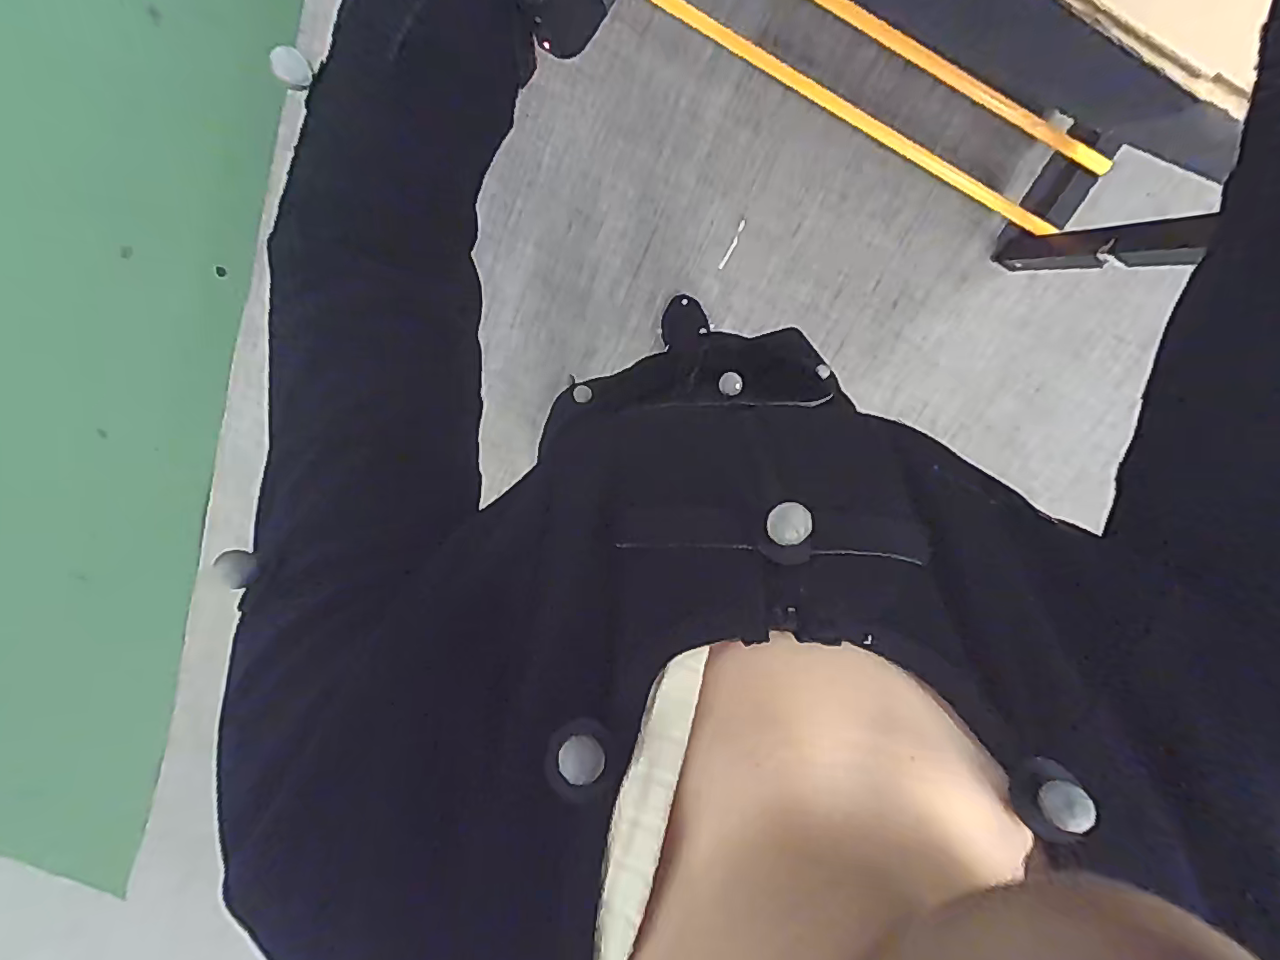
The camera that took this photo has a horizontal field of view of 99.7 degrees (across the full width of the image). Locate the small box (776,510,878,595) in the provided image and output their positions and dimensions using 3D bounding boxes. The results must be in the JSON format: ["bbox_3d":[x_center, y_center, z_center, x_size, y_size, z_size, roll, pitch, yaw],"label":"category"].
[{"bbox_3d":[0.464,0.200,1.379,0.168,0.176,0.179,20,109,-5],"label":"small box"}]

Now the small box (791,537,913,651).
[{"bbox_3d":[0.467,0.249,1.222,0.179,0.176,0.168,20,109,-4],"label":"small box"}]
